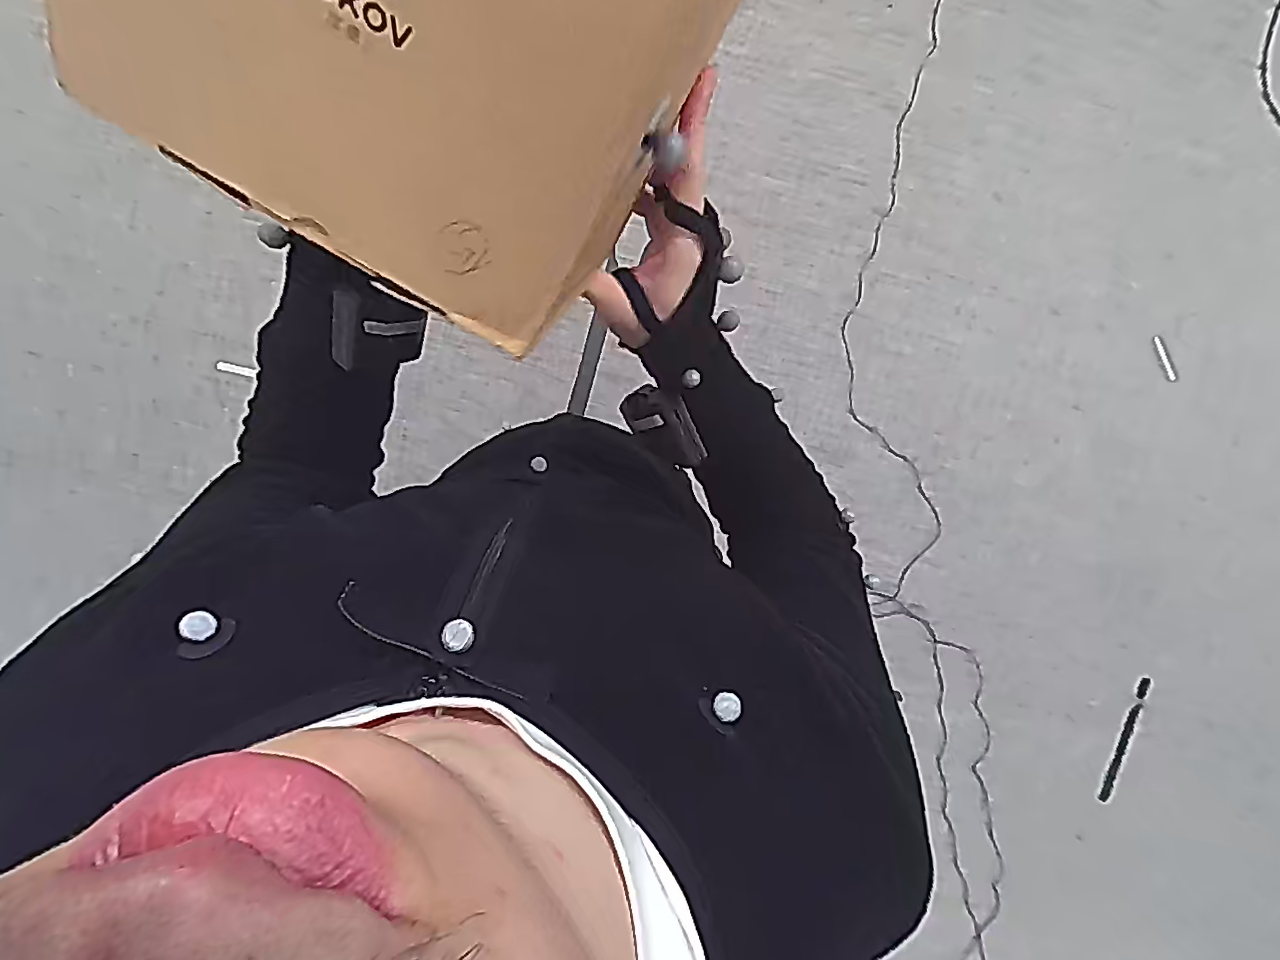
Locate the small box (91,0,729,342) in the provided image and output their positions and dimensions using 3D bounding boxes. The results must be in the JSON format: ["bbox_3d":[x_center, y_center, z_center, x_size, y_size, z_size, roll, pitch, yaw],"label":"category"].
[{"bbox_3d":[-0.060,-0.193,0.213,0.168,0.176,0.179,26,125,-10],"label":"small box"}]
